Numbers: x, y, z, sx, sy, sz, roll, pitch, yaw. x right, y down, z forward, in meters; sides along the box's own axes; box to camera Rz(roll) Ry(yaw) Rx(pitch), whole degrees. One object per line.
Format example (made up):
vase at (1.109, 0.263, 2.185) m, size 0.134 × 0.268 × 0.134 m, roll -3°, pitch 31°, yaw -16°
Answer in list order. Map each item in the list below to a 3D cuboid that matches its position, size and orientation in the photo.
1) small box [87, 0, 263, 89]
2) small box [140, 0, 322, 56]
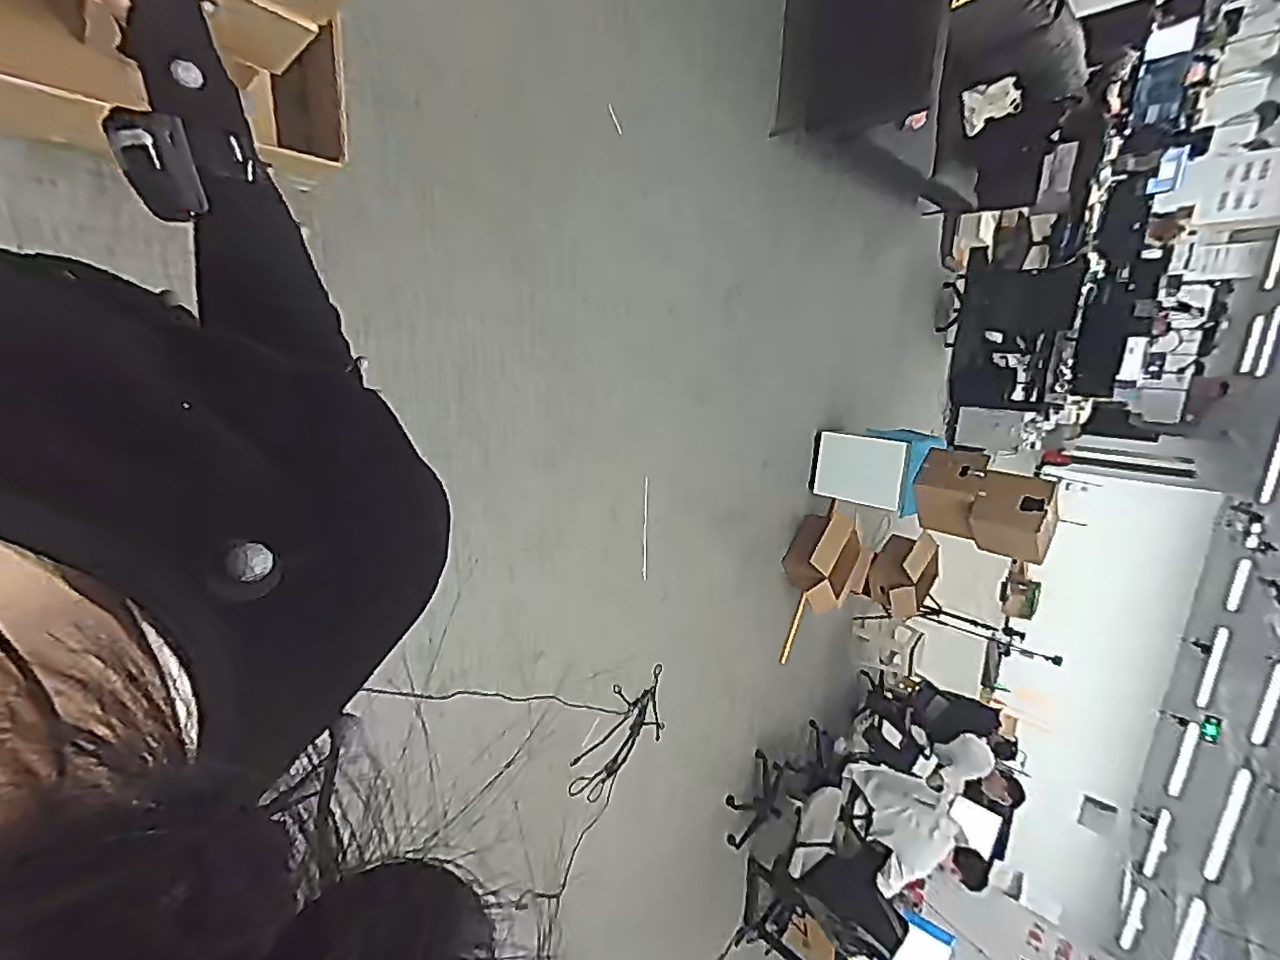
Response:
small box at (-0.606, -0.658, 0.707) m, size 0.168 × 0.176 × 0.179 m, roll -3°, pitch 103°, yaw -47°
small box at (-0.479, -0.625, 0.607) m, size 0.179 × 0.176 × 0.168 m, roll -5°, pitch 105°, yaw -47°
